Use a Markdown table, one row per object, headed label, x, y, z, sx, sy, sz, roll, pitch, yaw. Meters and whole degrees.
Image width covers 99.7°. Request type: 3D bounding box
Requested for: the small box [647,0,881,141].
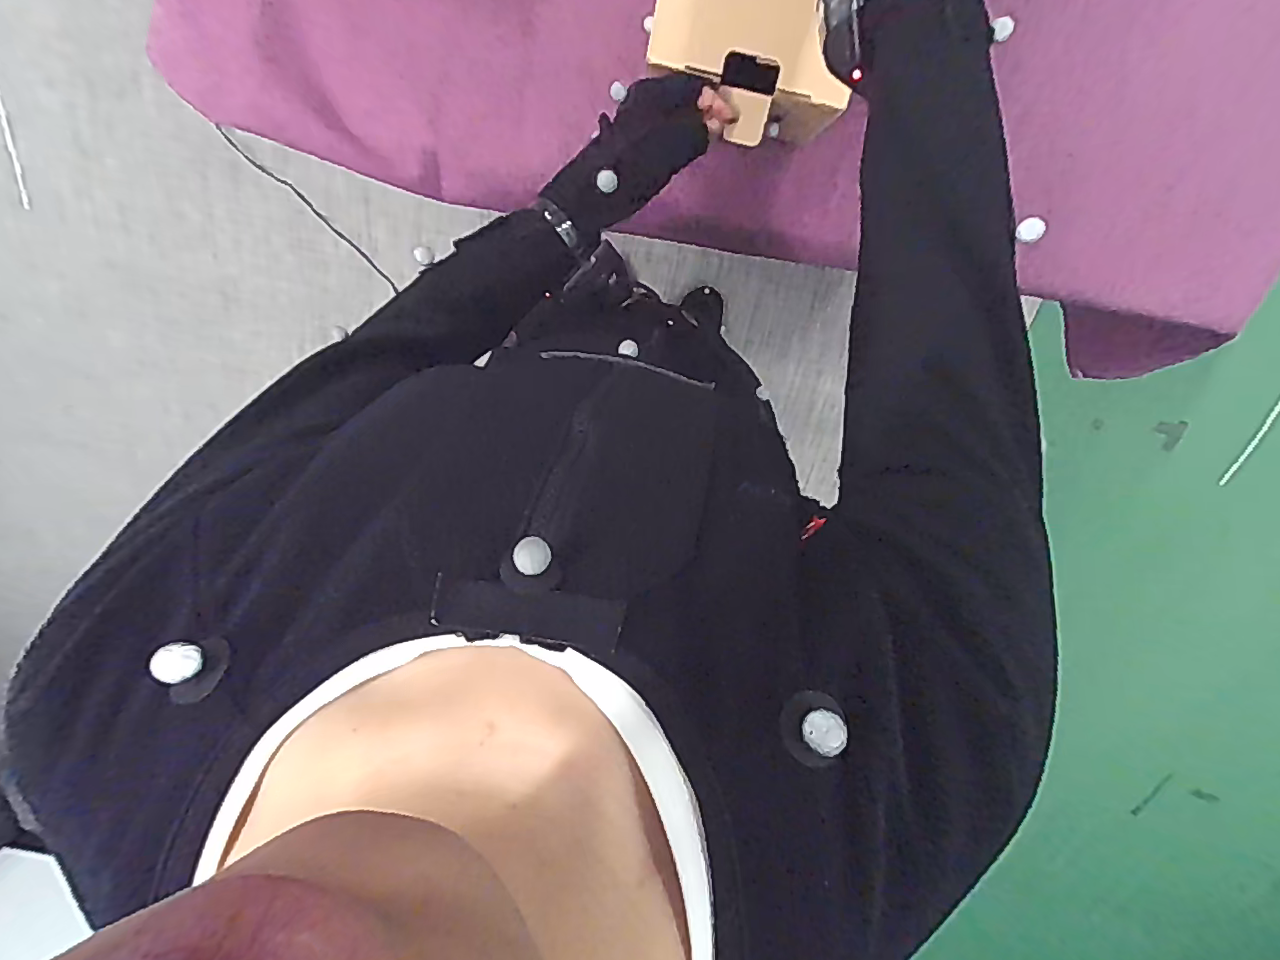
| label | x | y | z | sx | sy | sz | roll | pitch | yaw |
| --- | --- | --- | --- | --- | --- | --- | --- | --- | --- |
| small box | 0.109 | -0.416 | 0.465 | 0.168 | 0.176 | 0.179 | 13 | 114 | -1 |
